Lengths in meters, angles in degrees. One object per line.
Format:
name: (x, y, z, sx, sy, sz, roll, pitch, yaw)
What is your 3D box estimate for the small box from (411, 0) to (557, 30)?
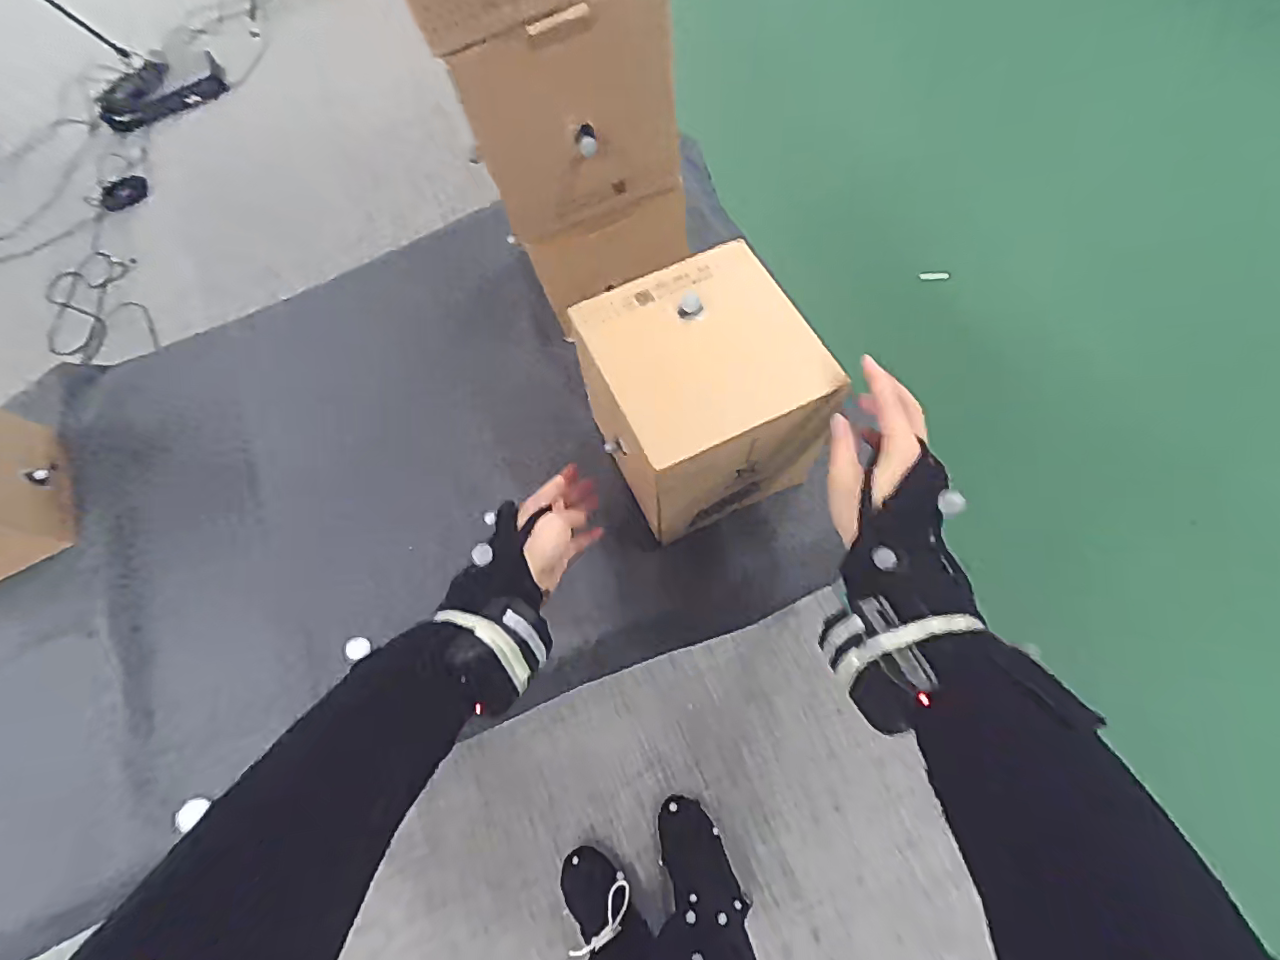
small box: (-0.100, -0.409, 0.312, 0.168, 0.176, 0.179, -23, 69, -2)

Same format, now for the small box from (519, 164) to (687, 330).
small box: (-0.053, -0.305, 0.621, 0.168, 0.176, 0.179, -22, 69, -1)

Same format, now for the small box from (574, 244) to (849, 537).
small box: (0.053, -0.075, 0.500, 0.168, 0.179, 0.176, -25, 67, -8)

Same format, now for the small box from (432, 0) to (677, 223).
small box: (-0.074, -0.356, 0.466, 0.168, 0.176, 0.179, -22, 70, -1)
